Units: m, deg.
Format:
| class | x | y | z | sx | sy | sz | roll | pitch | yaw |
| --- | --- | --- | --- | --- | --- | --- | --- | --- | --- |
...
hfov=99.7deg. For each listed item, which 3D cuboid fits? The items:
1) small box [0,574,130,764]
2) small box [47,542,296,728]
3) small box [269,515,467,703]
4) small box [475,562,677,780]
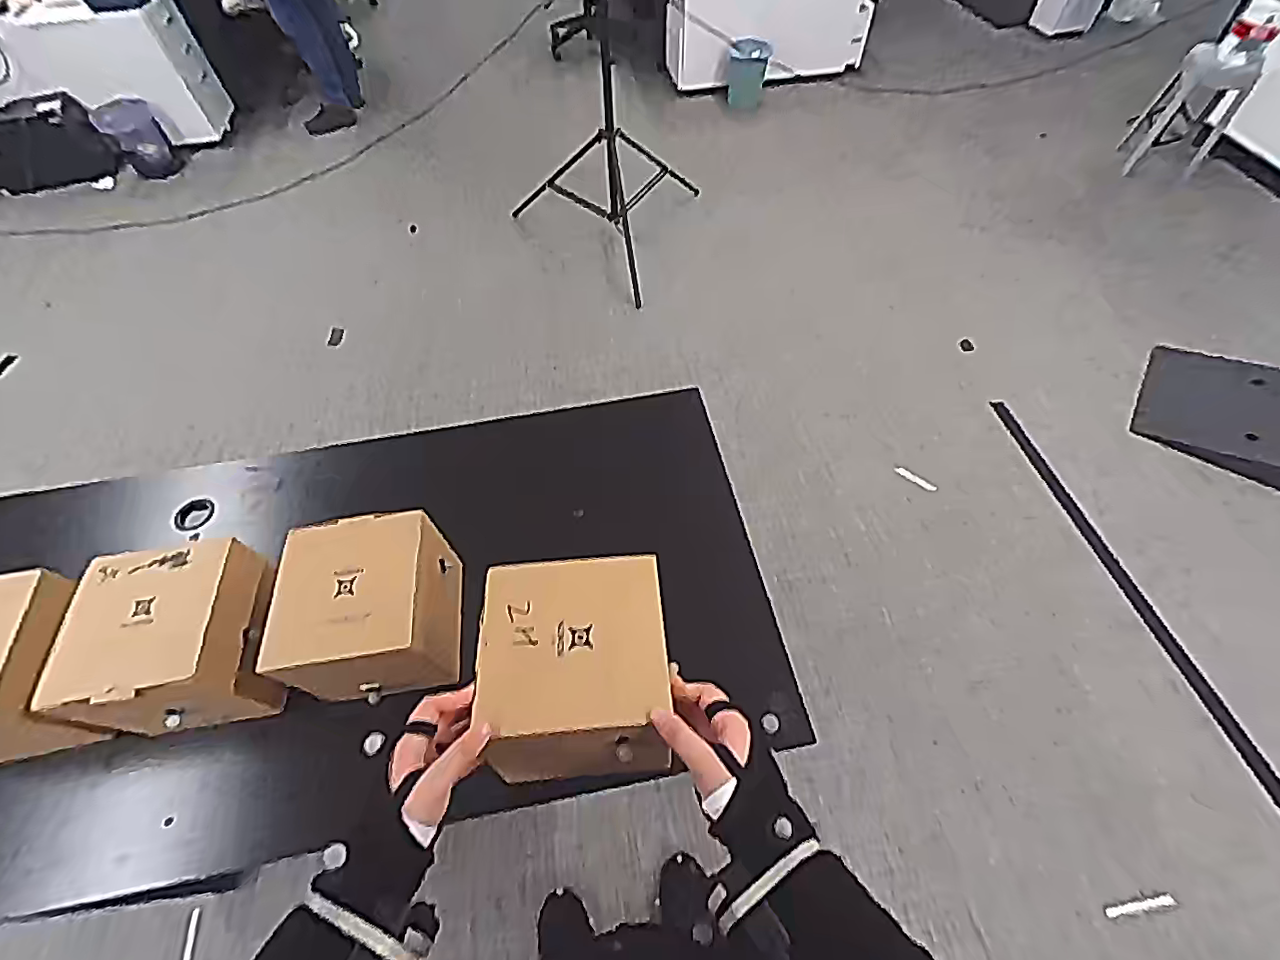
| class | x | y | z | sx | sy | sz | roll | pitch | yaw |
| --- | --- | --- | --- | --- | --- | --- | --- | --- | --- |
| small box | -0.765 | 0.239 | 0.664 | 0.179 | 0.176 | 0.168 | -11 | 57 | -6 |
| small box | -0.553 | 0.203 | 0.682 | 0.168 | 0.176 | 0.179 | -9 | 57 | -4 |
| small box | -0.331 | 0.170 | 0.699 | 0.168 | 0.176 | 0.179 | -9 | 57 | -3 |
| small box | -0.059 | 0.205 | 0.573 | 0.179 | 0.176 | 0.168 | -5 | 50 | -2 |
